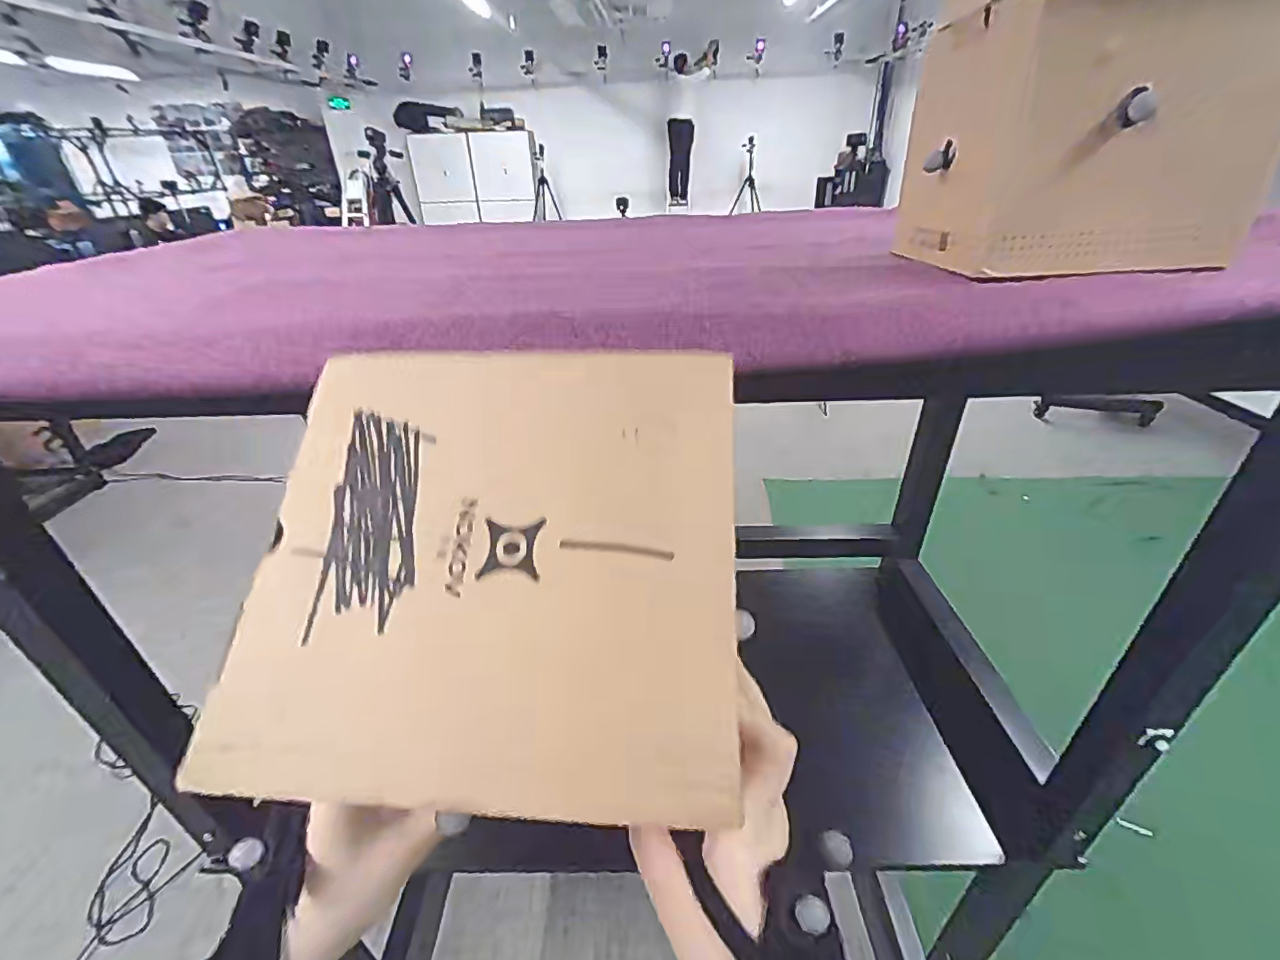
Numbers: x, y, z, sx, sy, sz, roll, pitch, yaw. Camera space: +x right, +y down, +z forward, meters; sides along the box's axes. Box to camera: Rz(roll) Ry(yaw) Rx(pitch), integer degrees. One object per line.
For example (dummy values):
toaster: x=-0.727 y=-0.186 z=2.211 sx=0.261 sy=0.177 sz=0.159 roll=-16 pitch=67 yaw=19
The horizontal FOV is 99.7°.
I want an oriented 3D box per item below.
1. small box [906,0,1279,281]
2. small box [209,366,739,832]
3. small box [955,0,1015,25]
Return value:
small box: x=0.323 y=-0.252 z=0.411 sx=0.179 sy=0.176 sz=0.168 roll=-2 pitch=29 yaw=3
small box: x=-0.044 y=0.060 z=0.273 sx=0.179 sy=0.176 sz=0.168 roll=2 pitch=66 yaw=6
small box: x=0.315 y=-0.388 z=0.320 sx=0.179 sy=0.176 sz=0.168 roll=-2 pitch=29 yaw=2
